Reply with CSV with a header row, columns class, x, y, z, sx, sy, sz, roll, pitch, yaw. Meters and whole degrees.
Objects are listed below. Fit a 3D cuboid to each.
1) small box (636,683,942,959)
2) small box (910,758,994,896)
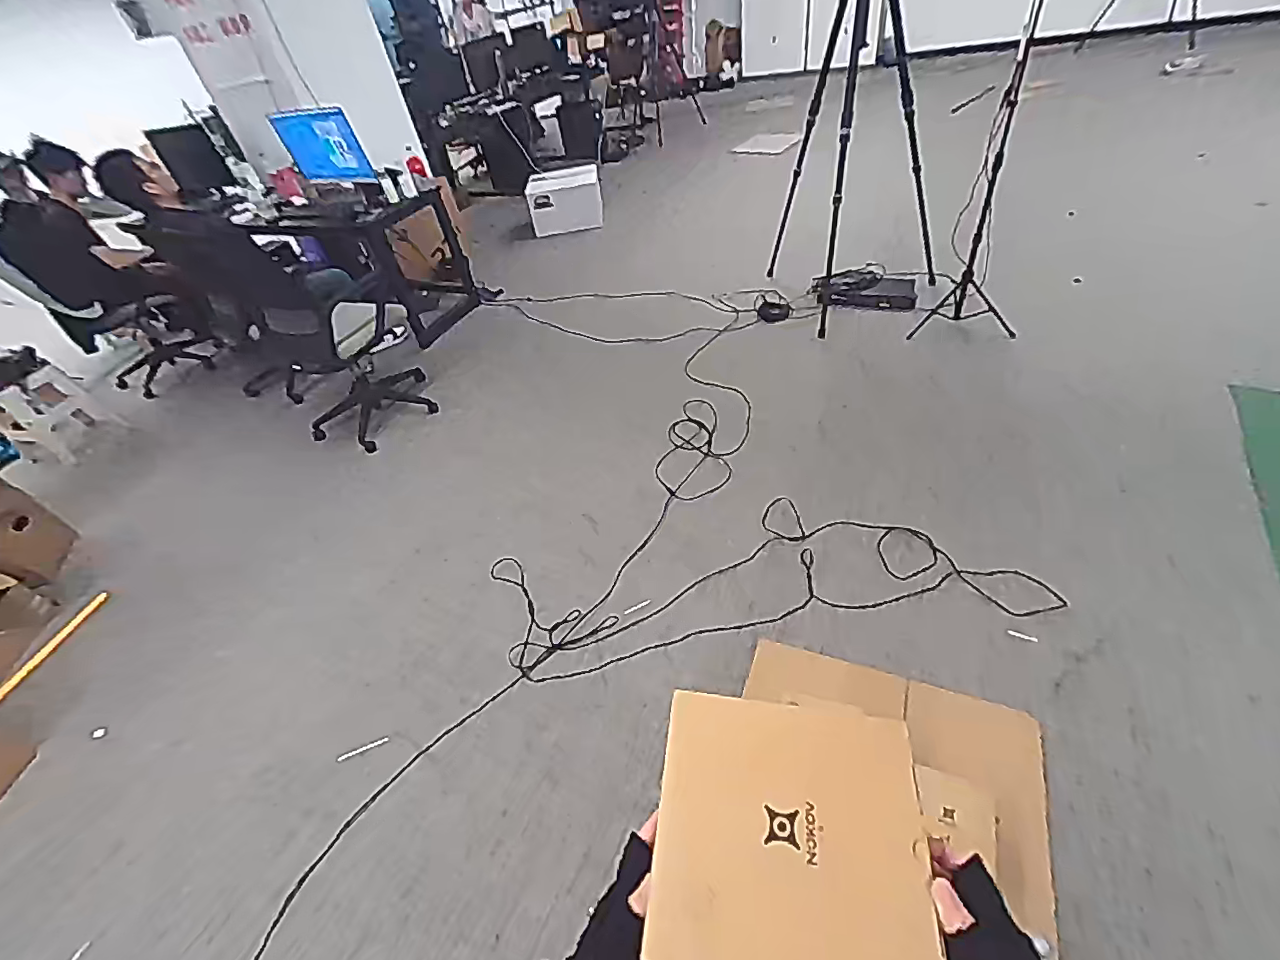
class,x,y,z,sx,sy,sz,roll,pitch,yaw
small box,0.101,0.280,0.415,0.179,0.176,0.168,5,47,9
small box,0.625,0.726,1.133,0.168,0.176,0.179,9,48,24
